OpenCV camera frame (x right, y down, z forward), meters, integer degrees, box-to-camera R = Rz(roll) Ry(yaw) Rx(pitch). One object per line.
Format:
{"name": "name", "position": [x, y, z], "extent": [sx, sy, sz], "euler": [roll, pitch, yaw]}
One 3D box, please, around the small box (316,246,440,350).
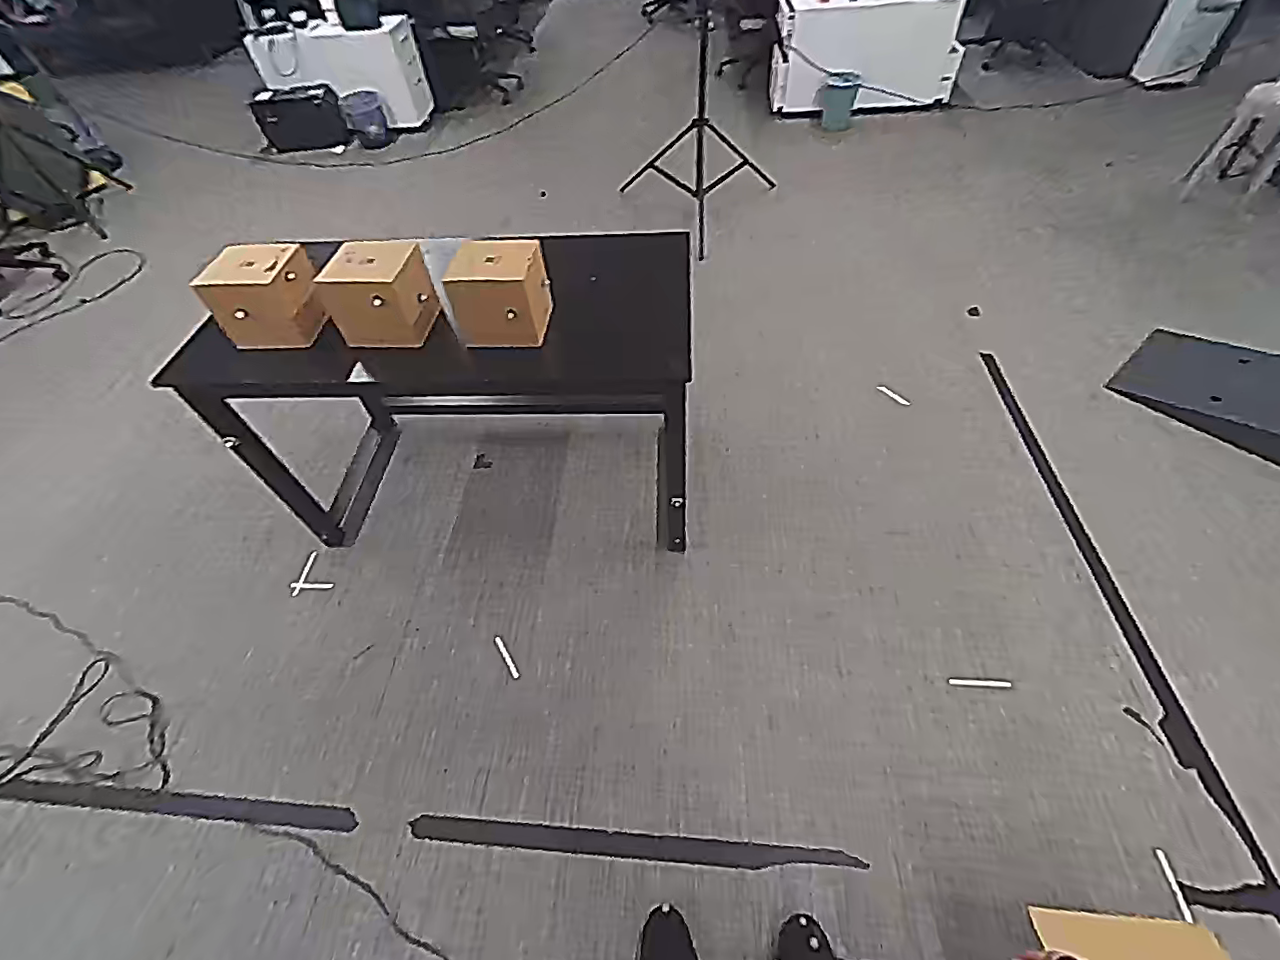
{"name": "small box", "position": [-0.581, -0.411, 1.230], "extent": [0.179, 0.176, 0.168], "euler": [1, 51, 5]}

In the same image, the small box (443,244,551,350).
{"name": "small box", "position": [-0.307, -0.405, 1.208], "extent": [0.179, 0.176, 0.168], "euler": [0, 50, 6]}

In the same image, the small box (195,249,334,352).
{"name": "small box", "position": [-0.853, -0.412, 1.252], "extent": [0.179, 0.176, 0.168], "euler": [-2, 52, 3]}
